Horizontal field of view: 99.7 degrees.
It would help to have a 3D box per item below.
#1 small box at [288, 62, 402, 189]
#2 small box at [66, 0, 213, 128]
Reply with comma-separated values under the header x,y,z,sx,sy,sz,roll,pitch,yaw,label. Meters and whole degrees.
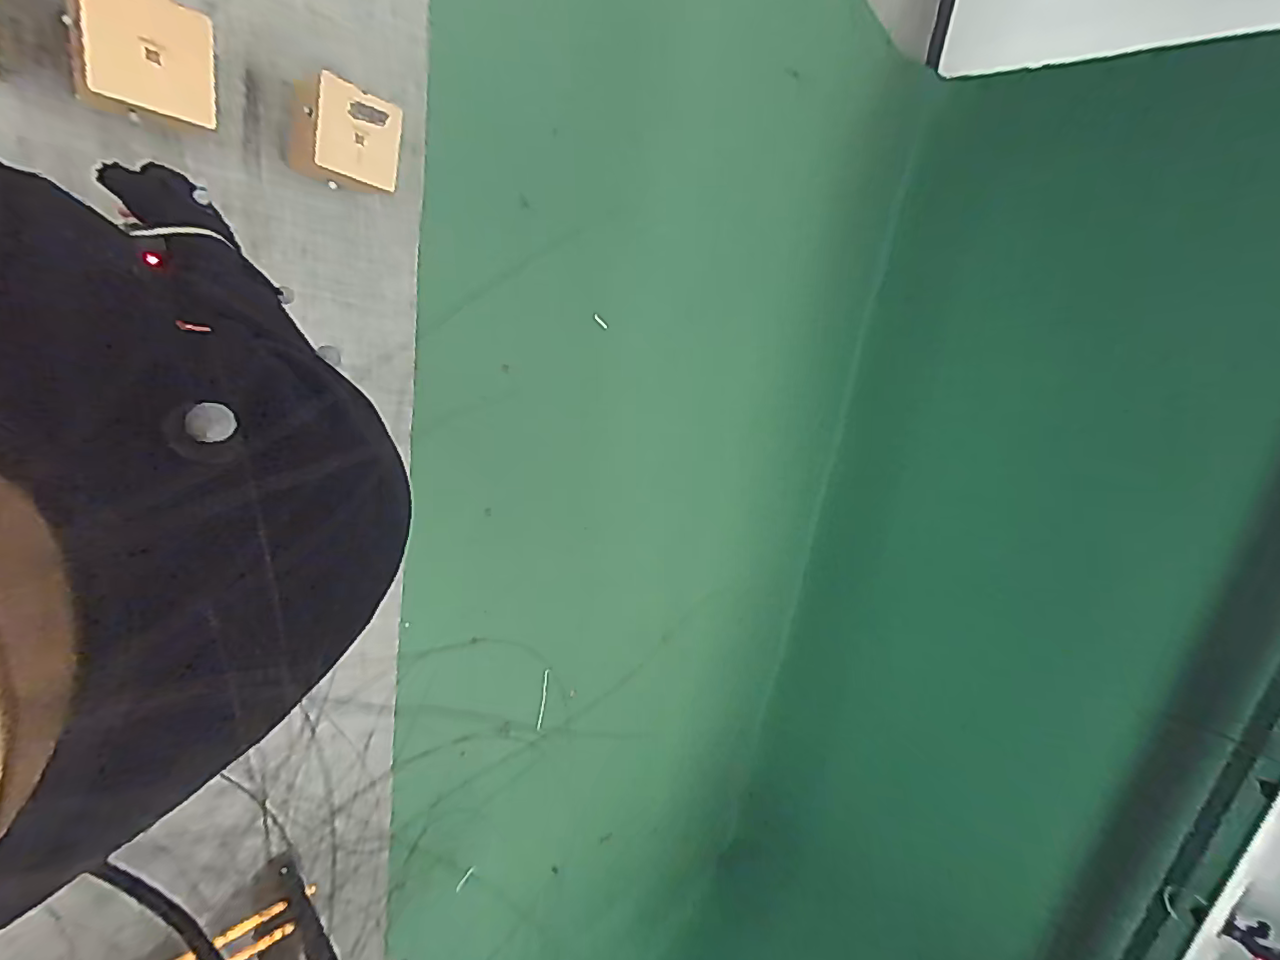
x,y,z,sx,sy,sz,roll,pitch,yaw,label
-0.644,-0.757,1.175,0.168,0.176,0.179,-3,110,-49,small box
-0.858,-0.735,0.930,0.168,0.176,0.179,-9,113,-48,small box
